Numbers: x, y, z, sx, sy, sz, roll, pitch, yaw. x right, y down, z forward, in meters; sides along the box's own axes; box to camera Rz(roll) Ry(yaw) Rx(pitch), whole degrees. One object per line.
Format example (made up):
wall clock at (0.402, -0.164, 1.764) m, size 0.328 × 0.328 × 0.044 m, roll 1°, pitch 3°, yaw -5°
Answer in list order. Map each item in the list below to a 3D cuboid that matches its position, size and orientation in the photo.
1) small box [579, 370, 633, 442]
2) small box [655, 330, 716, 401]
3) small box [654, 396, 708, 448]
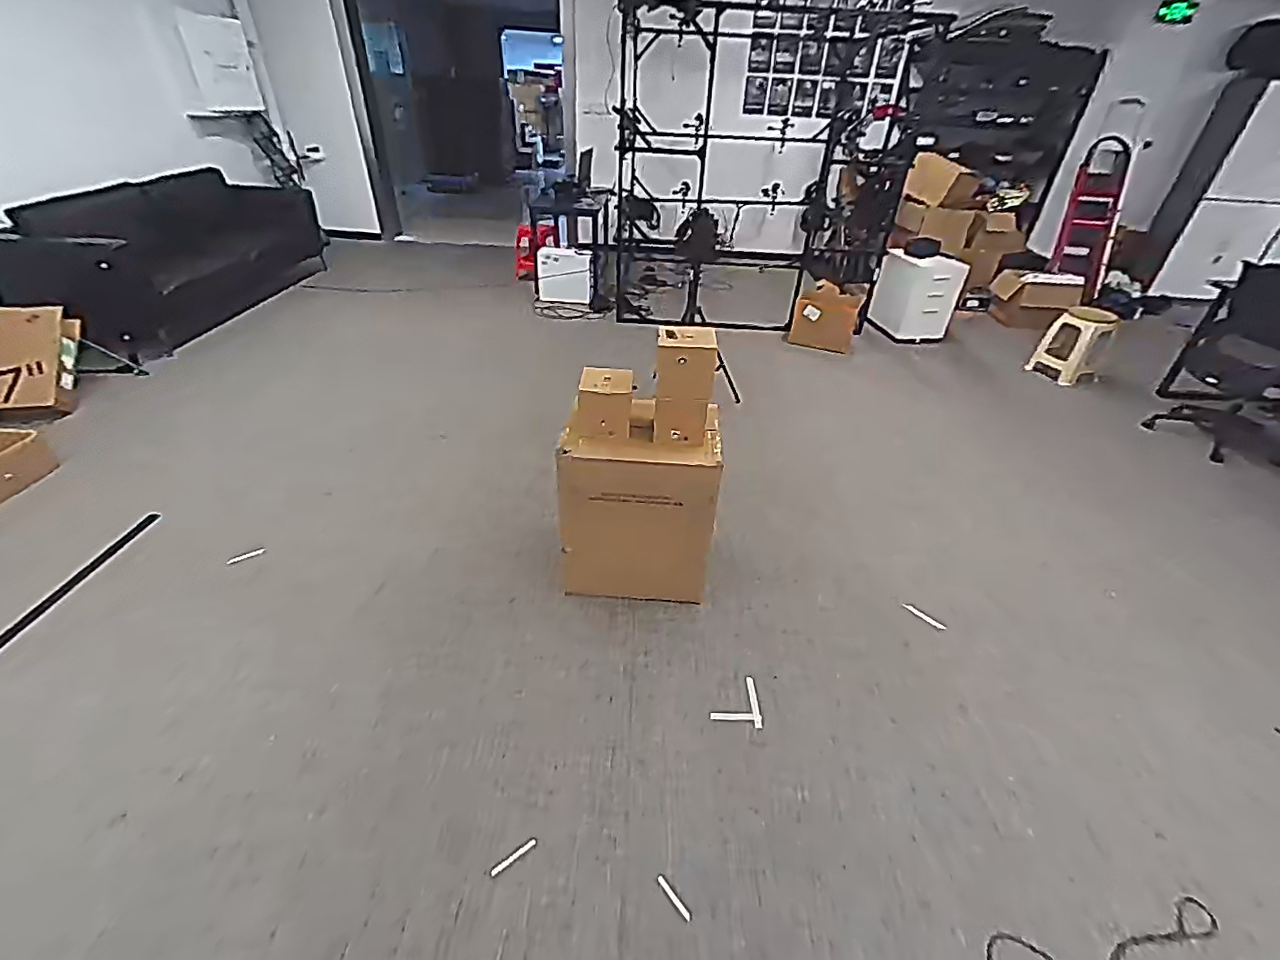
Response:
small box at (-0.111, -0.244, 1.780) m, size 0.168 × 0.176 × 0.179 m, roll 3°, pitch 36°, yaw -1°
small box at (0.137, -0.354, 1.669) m, size 0.179 × 0.176 × 0.168 m, roll 2°, pitch 36°, yaw 2°
small box at (0.131, -0.221, 1.767) m, size 0.168 × 0.176 × 0.179 m, roll 1°, pitch 37°, yaw 2°
